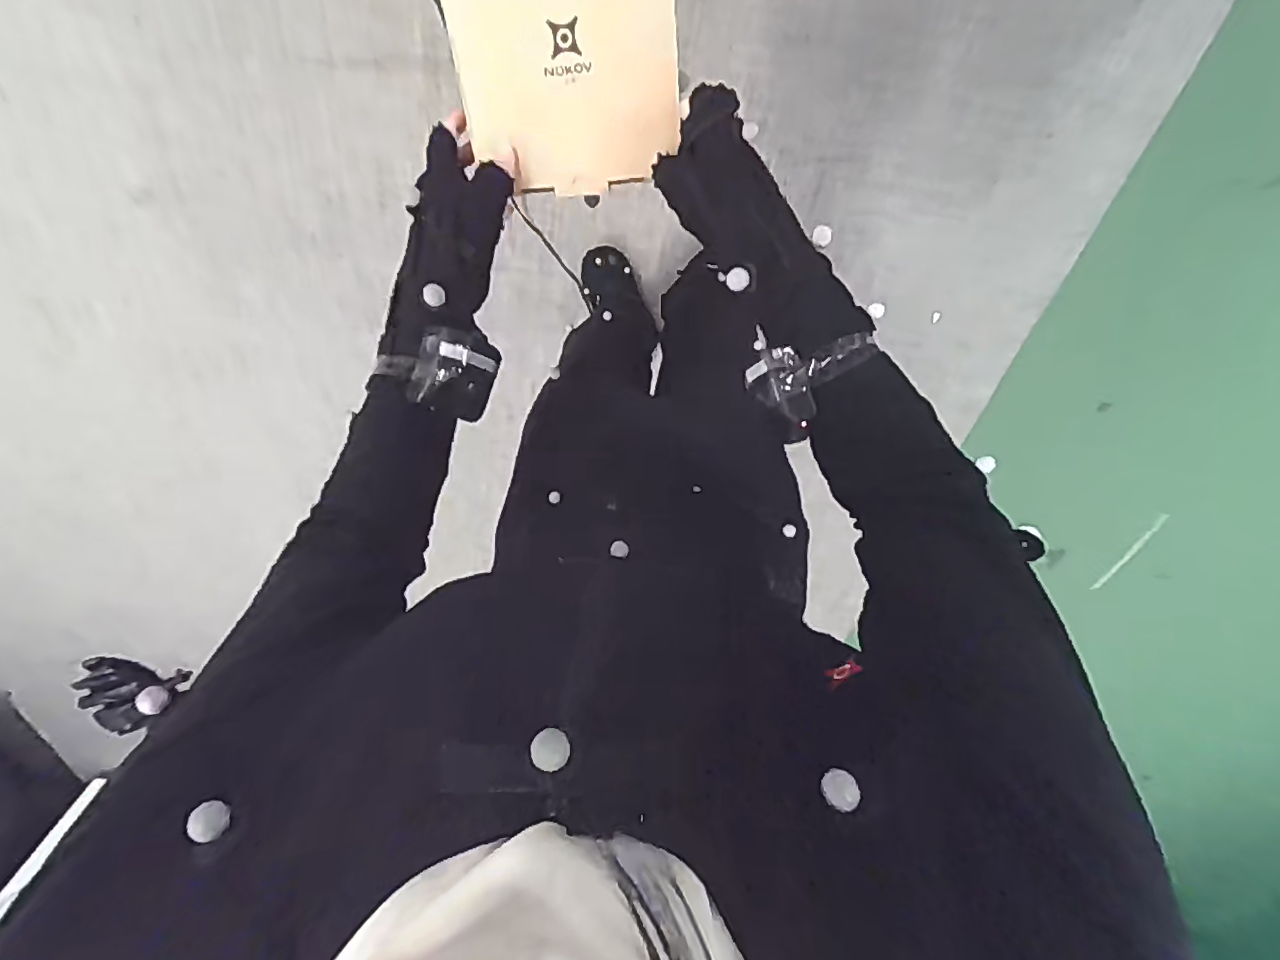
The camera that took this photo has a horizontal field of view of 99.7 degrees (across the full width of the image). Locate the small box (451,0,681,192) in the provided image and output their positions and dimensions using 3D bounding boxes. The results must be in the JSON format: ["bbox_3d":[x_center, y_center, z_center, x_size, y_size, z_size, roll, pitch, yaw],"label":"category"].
[{"bbox_3d":[-0.050,-0.358,0.468,0.168,0.176,0.179,-4,119,3],"label":"small box"}]
